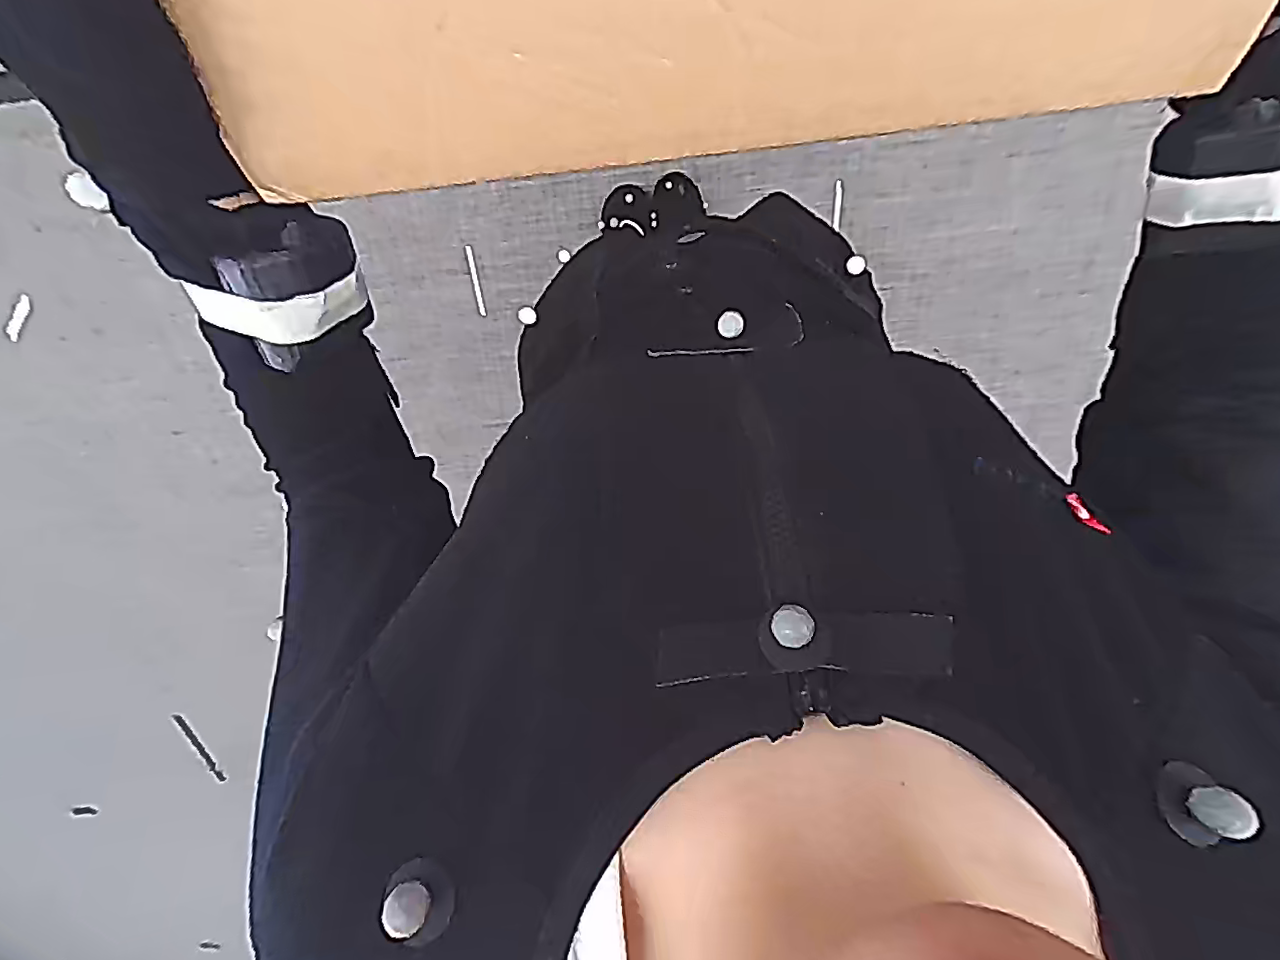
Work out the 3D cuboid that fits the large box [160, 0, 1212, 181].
[{"bbox_3d":[0.010,-0.365,0.209,0.408,0.320,0.320,-5,141,2],"label":"large box"}]
